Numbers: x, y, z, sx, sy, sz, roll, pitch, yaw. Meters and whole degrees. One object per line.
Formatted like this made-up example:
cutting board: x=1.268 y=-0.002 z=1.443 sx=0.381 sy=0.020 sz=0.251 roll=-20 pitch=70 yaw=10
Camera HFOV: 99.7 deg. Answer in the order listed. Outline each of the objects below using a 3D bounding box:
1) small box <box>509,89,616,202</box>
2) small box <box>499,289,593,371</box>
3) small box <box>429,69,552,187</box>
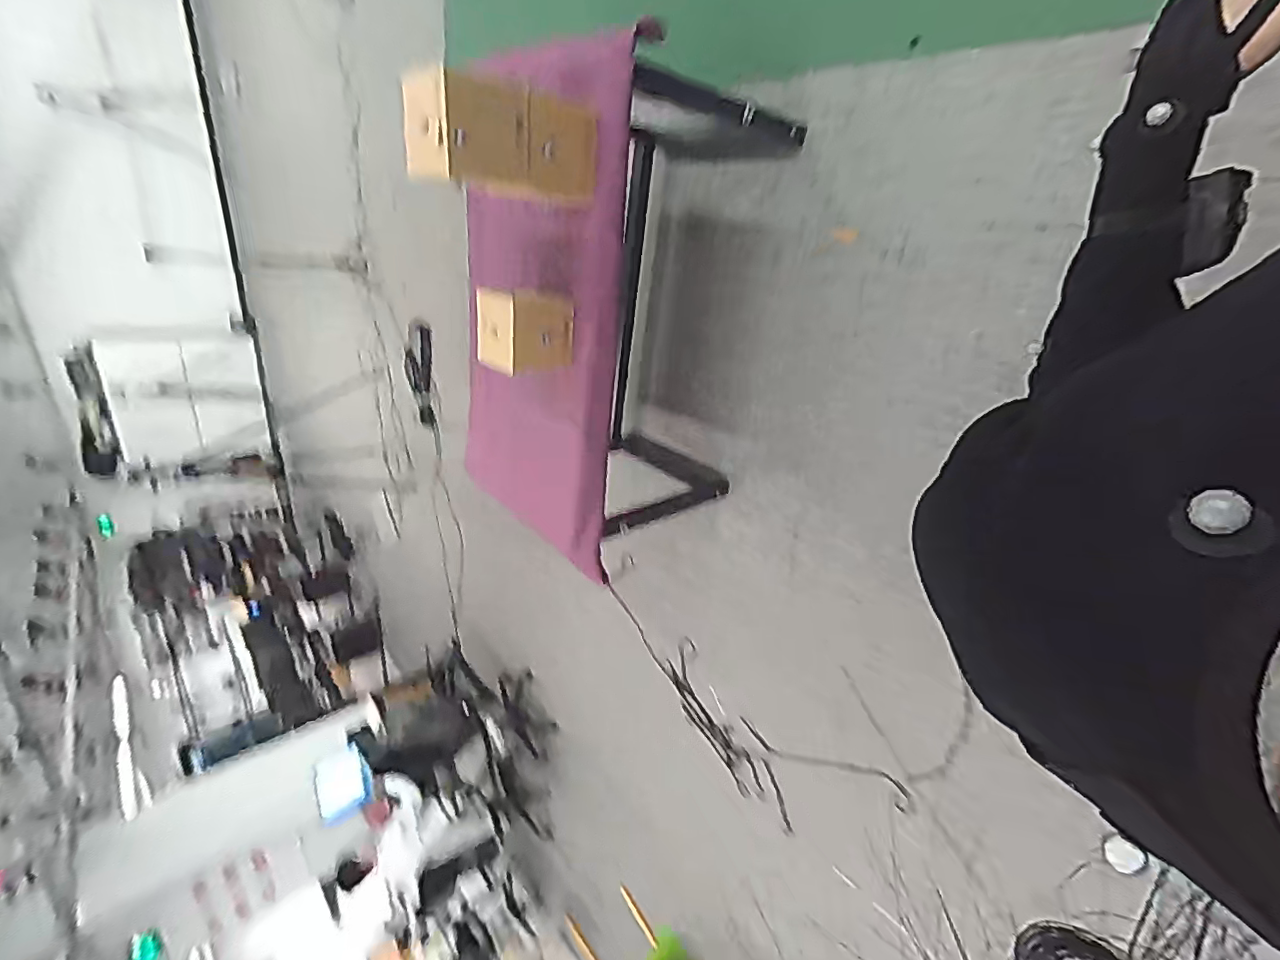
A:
small box: x=-0.164 y=-0.700 z=1.150 sx=0.168 sy=0.176 sz=0.179 roll=28 pitch=123 yaw=41
small box: x=-0.232 y=-0.375 z=1.336 sx=0.179 sy=0.176 sz=0.168 roll=31 pitch=124 yaw=42
small box: x=-0.289 y=-0.668 z=1.048 sx=0.179 sy=0.176 sz=0.168 roll=29 pitch=125 yaw=42
